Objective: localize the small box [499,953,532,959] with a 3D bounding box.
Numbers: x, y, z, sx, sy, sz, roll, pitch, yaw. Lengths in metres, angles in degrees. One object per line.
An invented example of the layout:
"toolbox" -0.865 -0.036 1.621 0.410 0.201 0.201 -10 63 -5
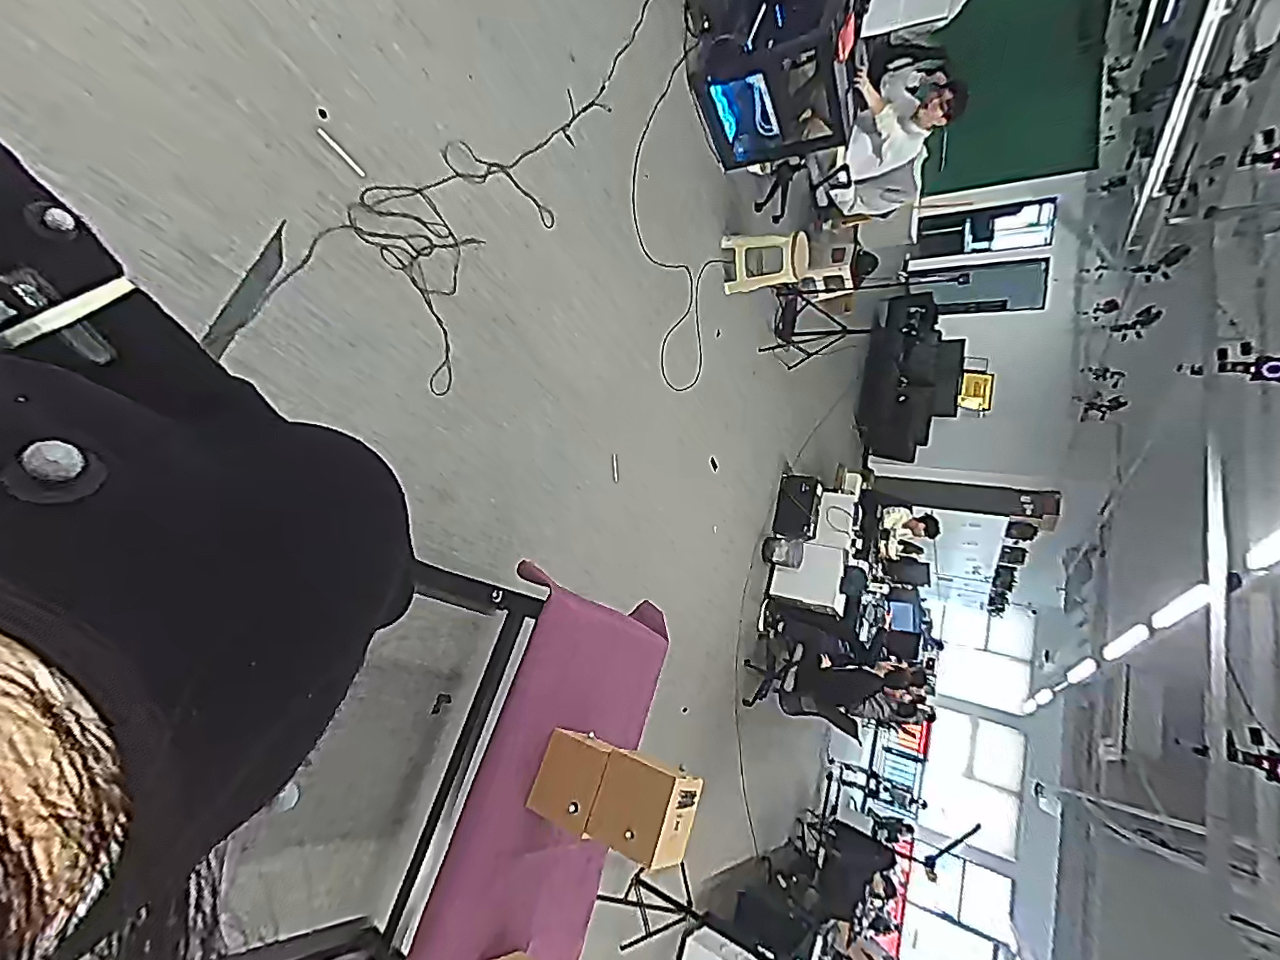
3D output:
"small box" -0.268 1.144 1.134 0.179 0.176 0.168 46 57 -50

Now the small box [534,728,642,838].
"small box" -0.125 0.712 1.278 0.168 0.176 0.179 48 56 -51
